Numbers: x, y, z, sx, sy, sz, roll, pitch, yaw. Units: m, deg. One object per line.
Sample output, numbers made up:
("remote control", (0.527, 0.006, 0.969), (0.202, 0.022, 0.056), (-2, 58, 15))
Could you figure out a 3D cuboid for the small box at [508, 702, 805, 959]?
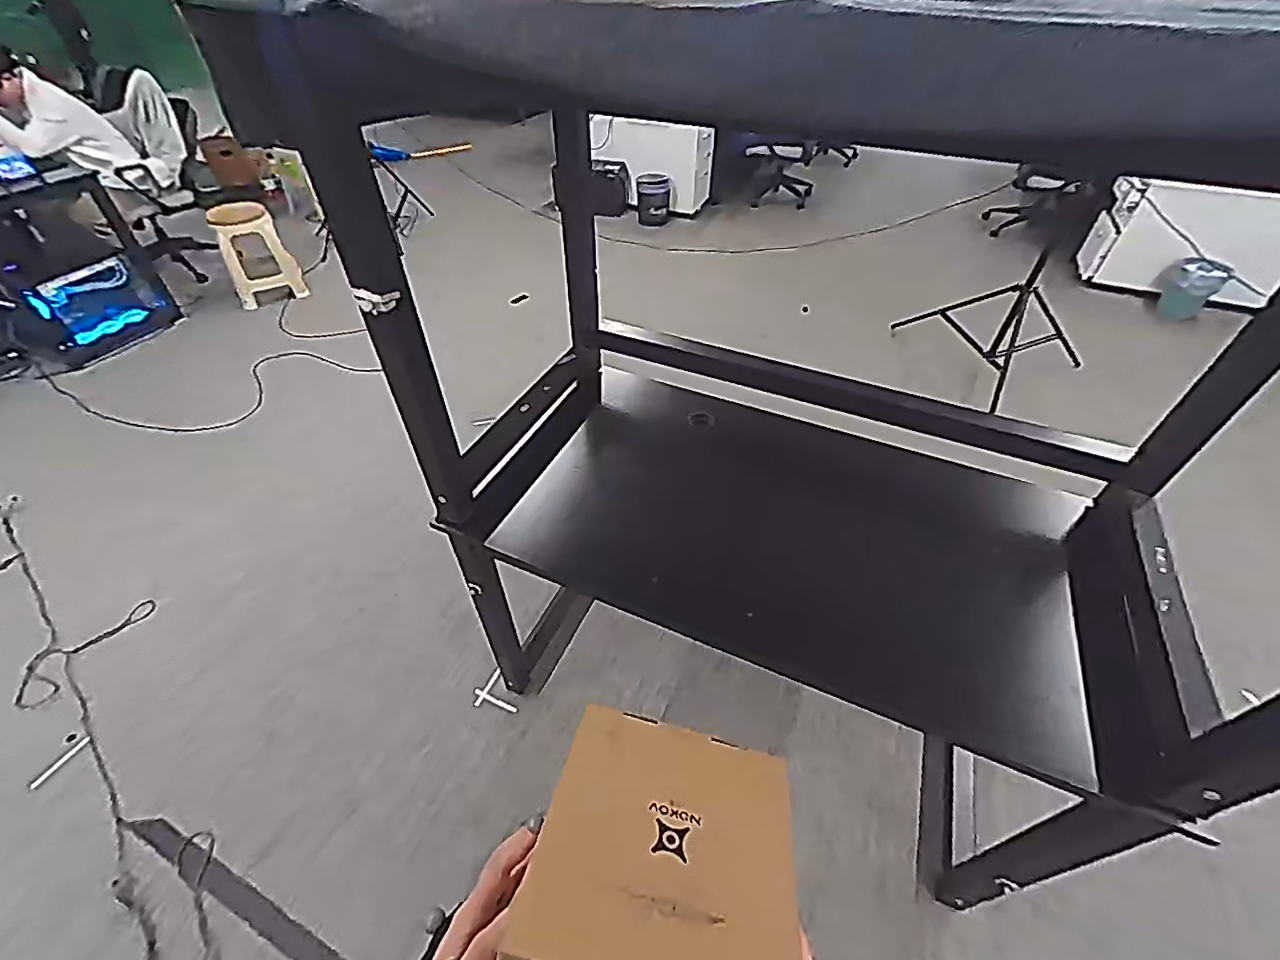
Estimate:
("small box", (0.007, 0.303, 0.385), (0.168, 0.176, 0.179), (14, 24, 5))
